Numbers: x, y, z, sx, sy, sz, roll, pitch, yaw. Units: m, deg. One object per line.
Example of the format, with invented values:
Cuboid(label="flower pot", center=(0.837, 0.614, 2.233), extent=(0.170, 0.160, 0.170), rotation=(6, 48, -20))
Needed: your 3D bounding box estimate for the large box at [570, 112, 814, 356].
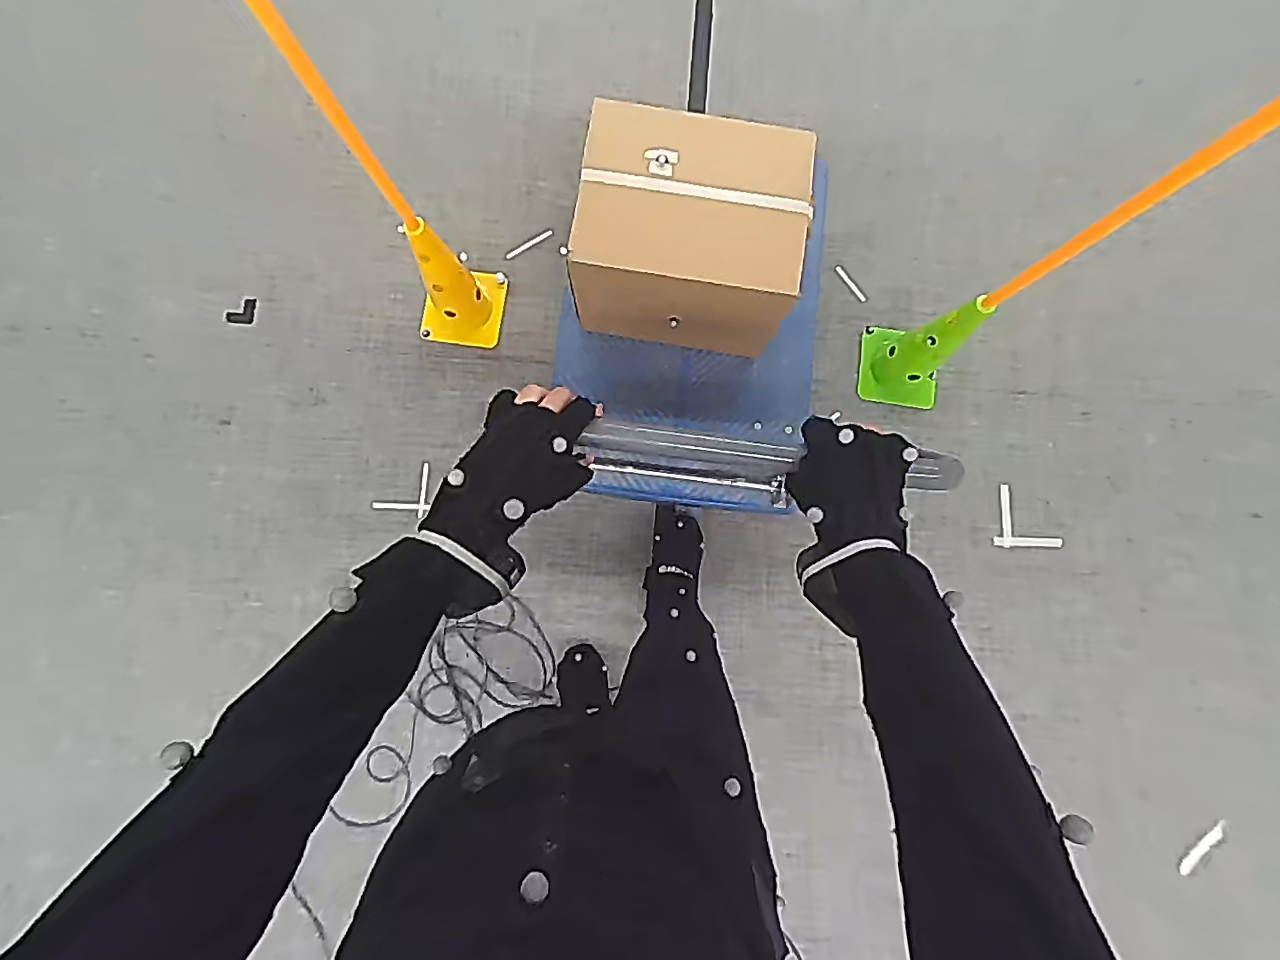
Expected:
Cuboid(label="large box", center=(0.097, -0.469, 1.099), extent=(0.408, 0.320, 0.320), rotation=(9, 83, 1))

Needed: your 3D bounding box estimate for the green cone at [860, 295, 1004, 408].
Cuboid(label="green cone", center=(0.682, -0.316, 1.235), extent=(0.202, 0.368, 0.200), rotation=(9, 82, -1))
